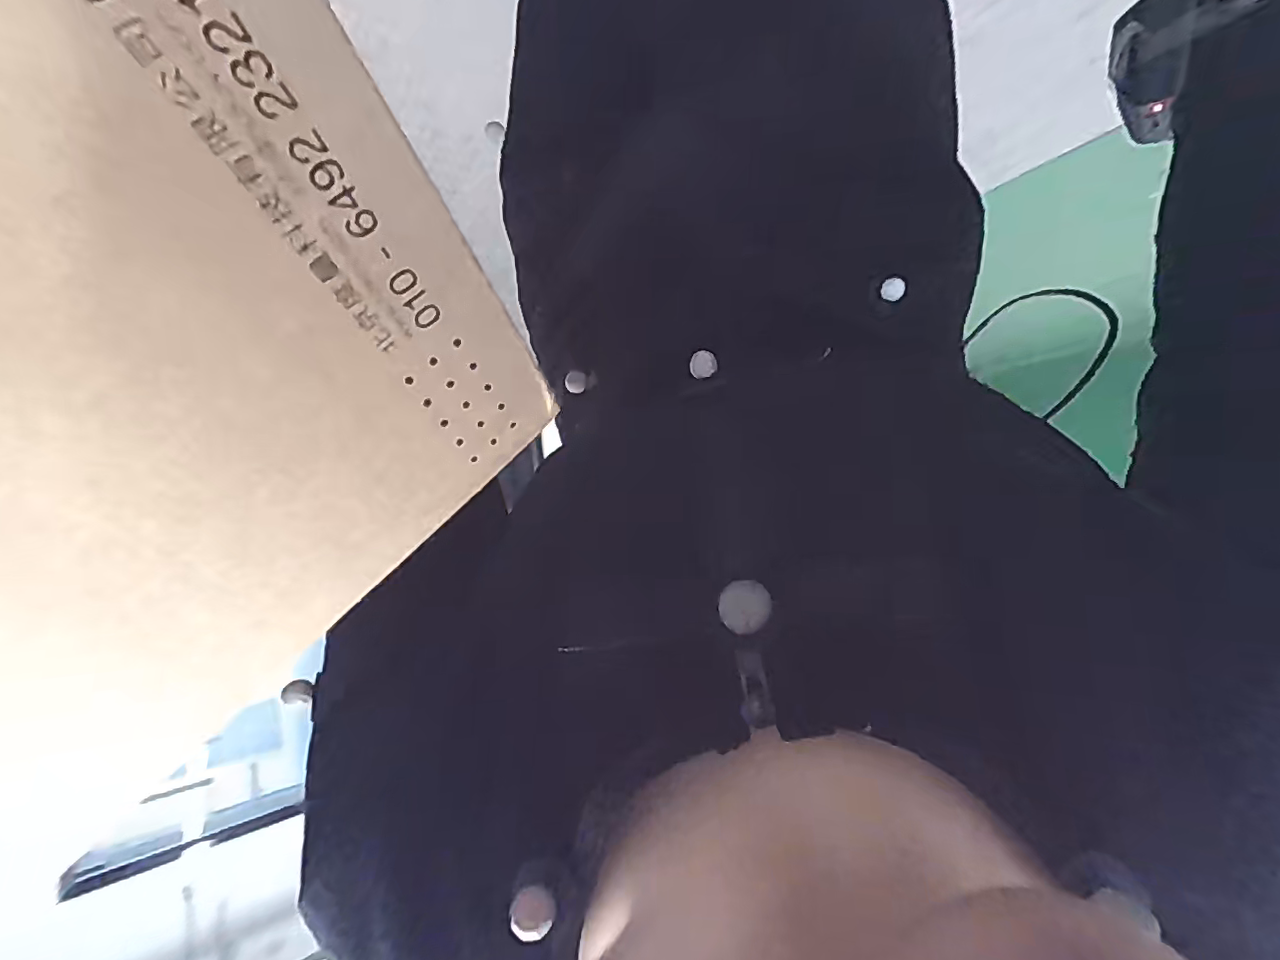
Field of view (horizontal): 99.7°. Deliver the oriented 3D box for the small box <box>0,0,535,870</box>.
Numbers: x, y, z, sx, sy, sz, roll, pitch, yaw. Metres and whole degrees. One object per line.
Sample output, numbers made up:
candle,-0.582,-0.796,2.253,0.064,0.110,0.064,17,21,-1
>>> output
small box,-0.157,-0.049,0.122,0.179,0.176,0.168,30,157,38
